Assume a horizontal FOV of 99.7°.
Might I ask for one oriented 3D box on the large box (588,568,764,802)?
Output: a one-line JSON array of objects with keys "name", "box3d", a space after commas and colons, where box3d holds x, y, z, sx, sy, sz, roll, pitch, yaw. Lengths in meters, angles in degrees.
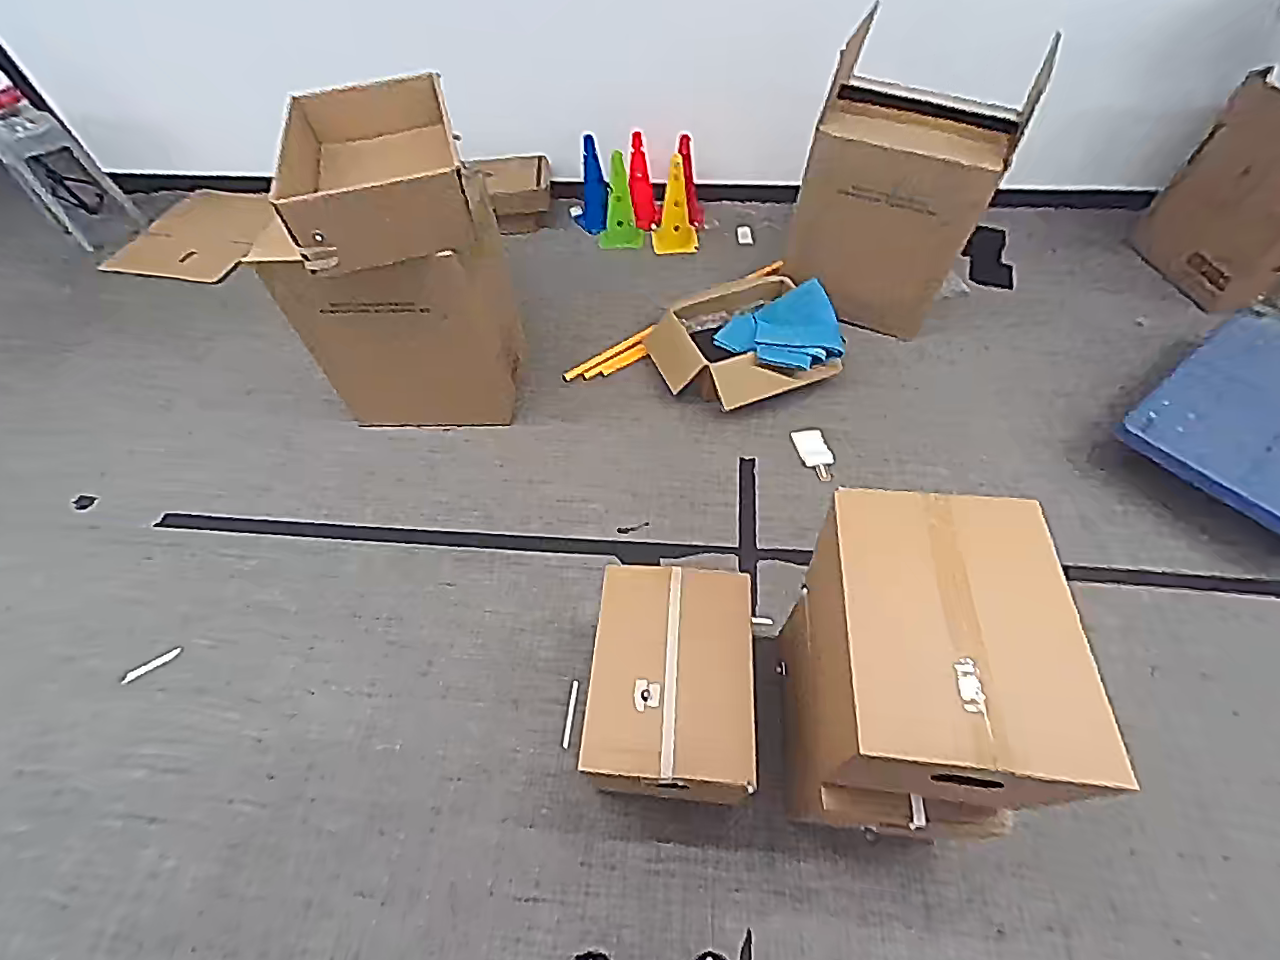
[{"name": "large box", "box3d": [0.076, 0.440, 1.163, 0.320, 0.320, 0.408, 2, 55, 4]}]
